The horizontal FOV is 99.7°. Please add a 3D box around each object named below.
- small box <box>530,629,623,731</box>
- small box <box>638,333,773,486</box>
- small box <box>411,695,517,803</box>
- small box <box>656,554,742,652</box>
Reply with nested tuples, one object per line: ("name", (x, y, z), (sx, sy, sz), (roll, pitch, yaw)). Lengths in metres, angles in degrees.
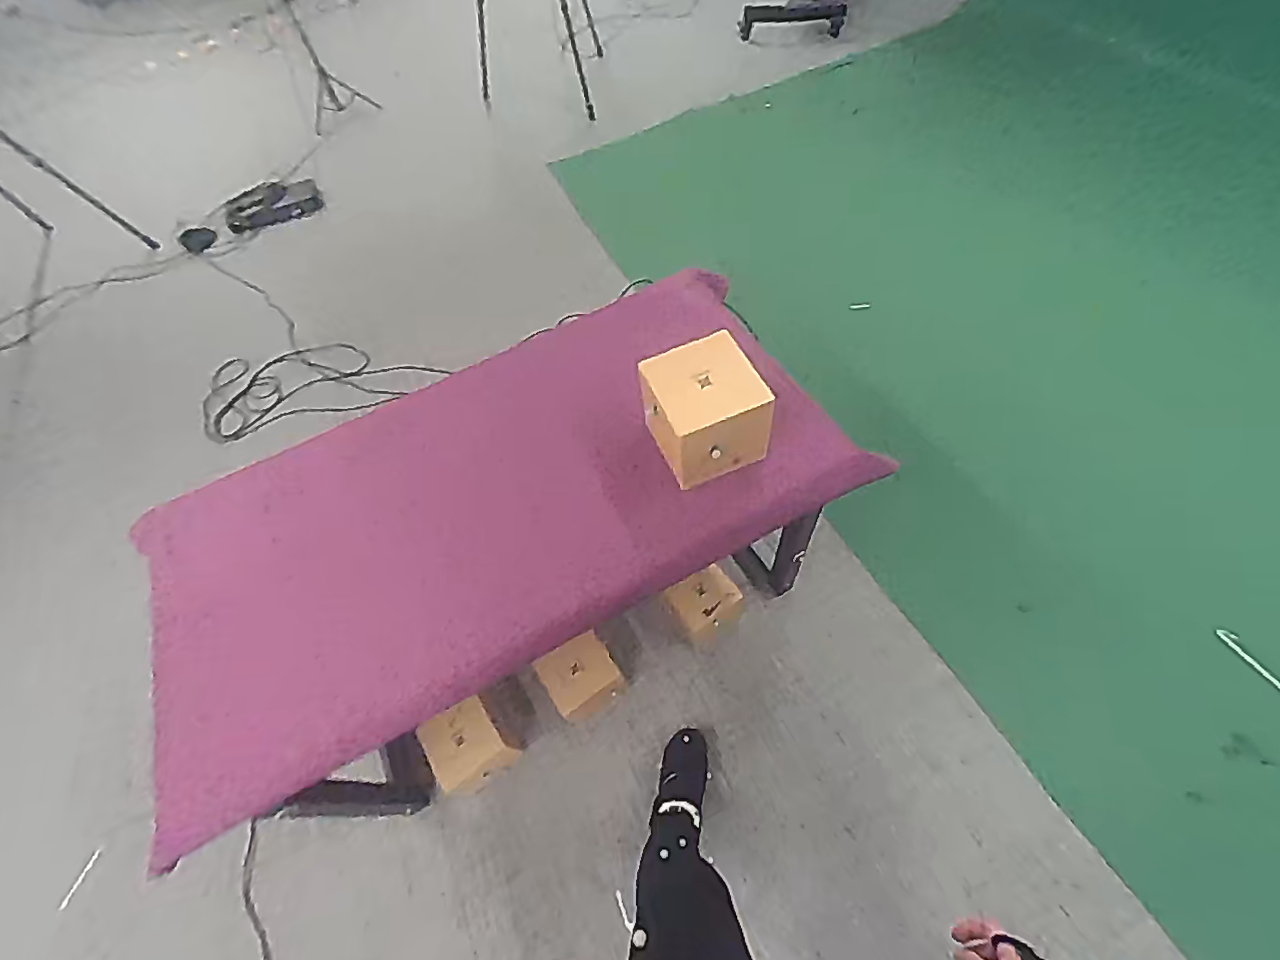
("small box", (-0.157, 0.527, 1.416), (0.179, 0.176, 0.168), (-33, 59, -13))
("small box", (0.110, -0.111, 0.926), (0.168, 0.176, 0.179), (-22, 57, -6))
("small box", (-0.433, 0.673, 1.353), (0.168, 0.176, 0.179), (-34, 60, -15))
("small box", (0.160, 0.345, 1.494), (0.168, 0.176, 0.179), (-32, 60, -14))
